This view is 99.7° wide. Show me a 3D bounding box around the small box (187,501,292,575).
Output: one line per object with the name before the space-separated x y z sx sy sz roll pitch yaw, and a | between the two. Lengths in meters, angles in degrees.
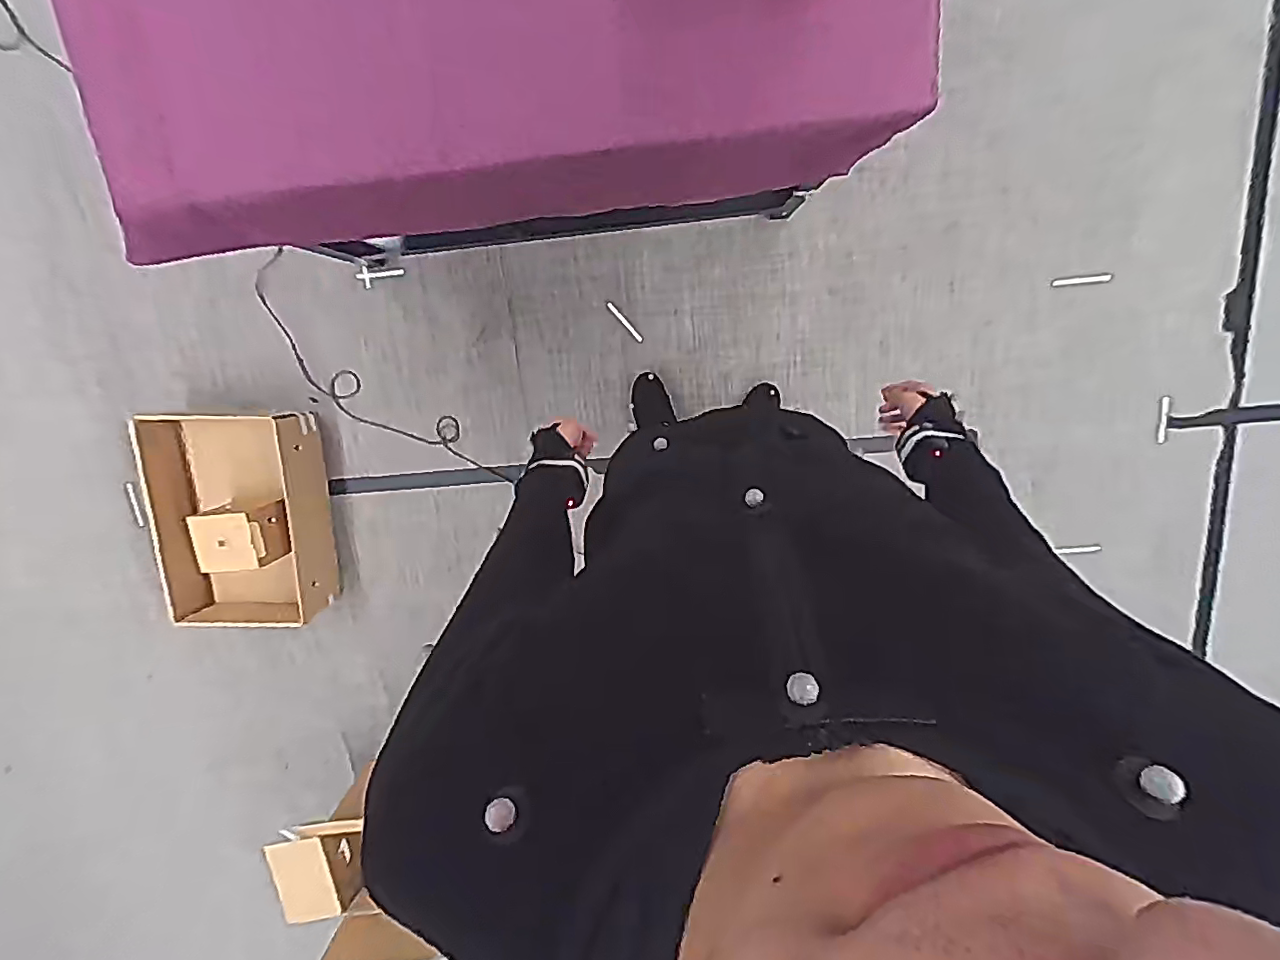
small box | -1.143 0.162 1.564 0.179 0.176 0.168 -5 101 2
